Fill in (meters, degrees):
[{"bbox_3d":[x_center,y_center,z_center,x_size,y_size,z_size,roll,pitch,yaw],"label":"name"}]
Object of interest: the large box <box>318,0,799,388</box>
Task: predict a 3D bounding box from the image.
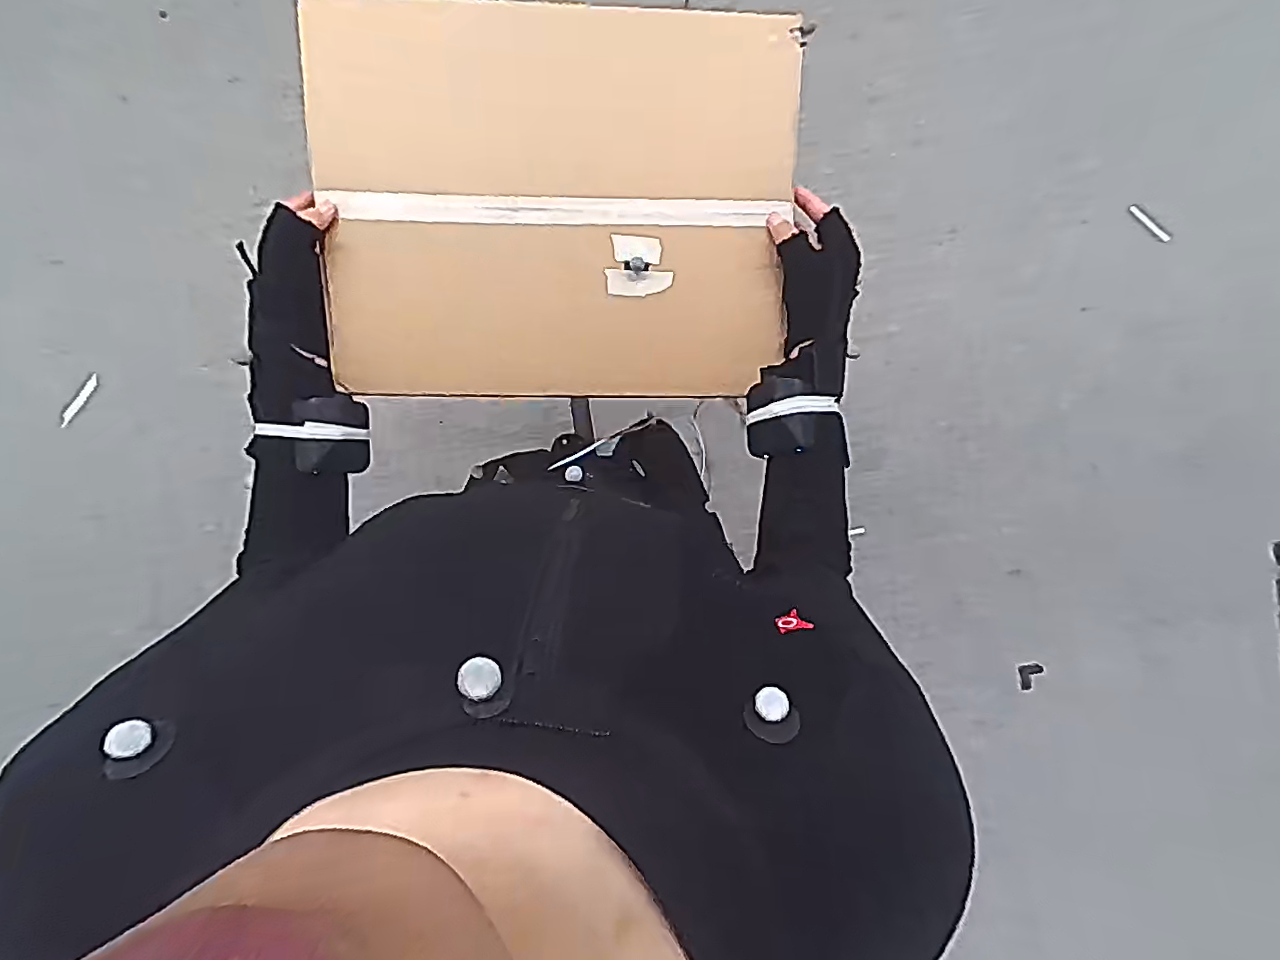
[{"bbox_3d":[-0.076,-0.267,0.620,0.408,0.320,0.320,0,101,-5],"label":"large box"}]
